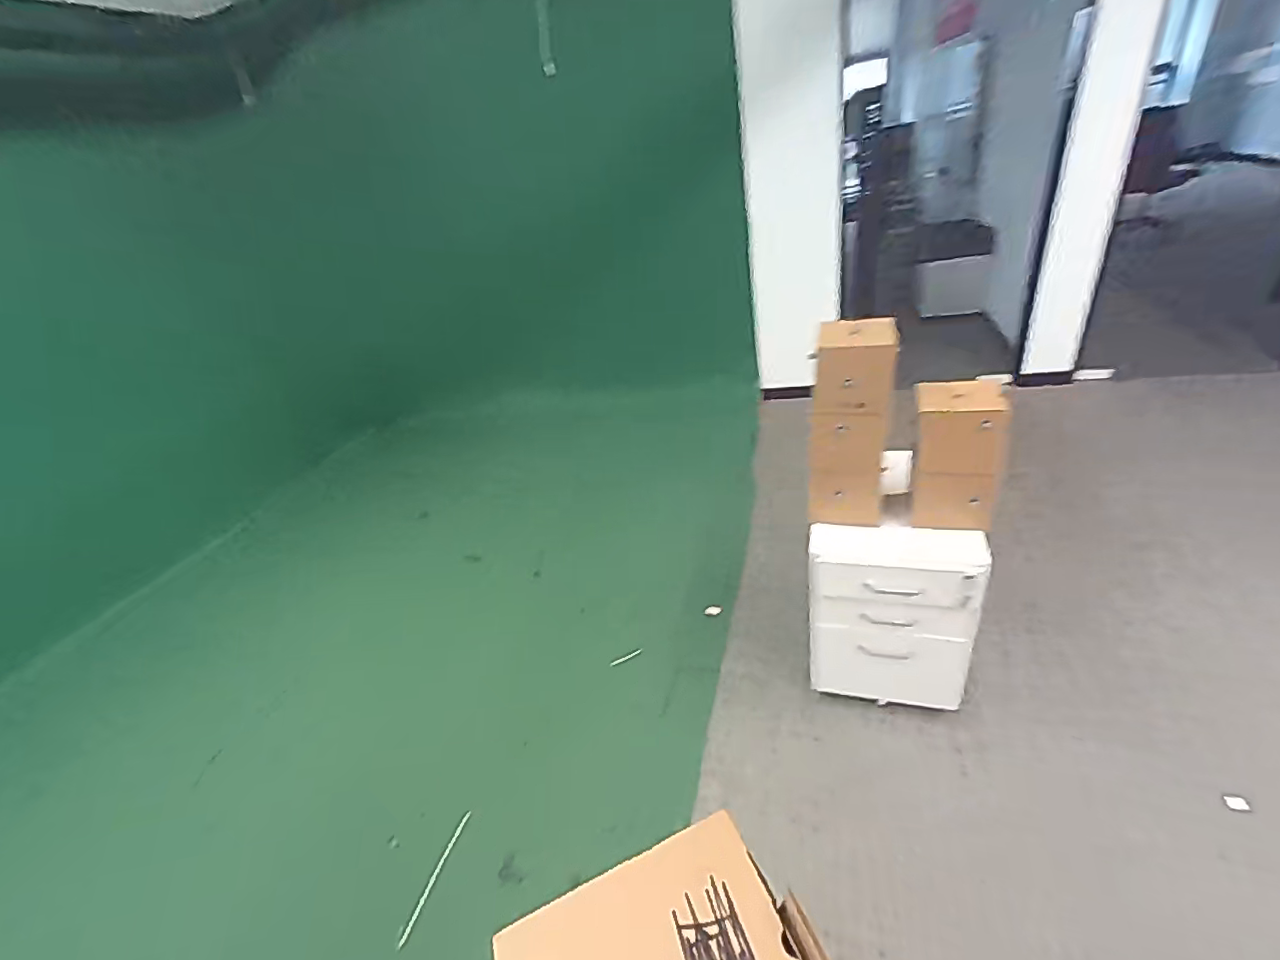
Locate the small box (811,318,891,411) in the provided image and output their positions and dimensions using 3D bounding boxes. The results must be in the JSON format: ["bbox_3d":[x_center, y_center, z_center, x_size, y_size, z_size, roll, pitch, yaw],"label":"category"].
[{"bbox_3d":[0.499,-0.272,1.284,0.168,0.176,0.179,3,35,19],"label":"small box"}]

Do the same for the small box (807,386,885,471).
[{"bbox_3d":[0.518,-0.133,1.370,0.179,0.176,0.168,3,35,19],"label":"small box"}]

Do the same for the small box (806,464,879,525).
[{"bbox_3d":[0.544,0.006,1.454,0.179,0.176,0.168,2,35,20],"label":"small box"}]

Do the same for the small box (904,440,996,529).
[{"bbox_3d":[0.776,0.012,1.372,0.179,0.176,0.168,-1,32,21],"label":"small box"}]
